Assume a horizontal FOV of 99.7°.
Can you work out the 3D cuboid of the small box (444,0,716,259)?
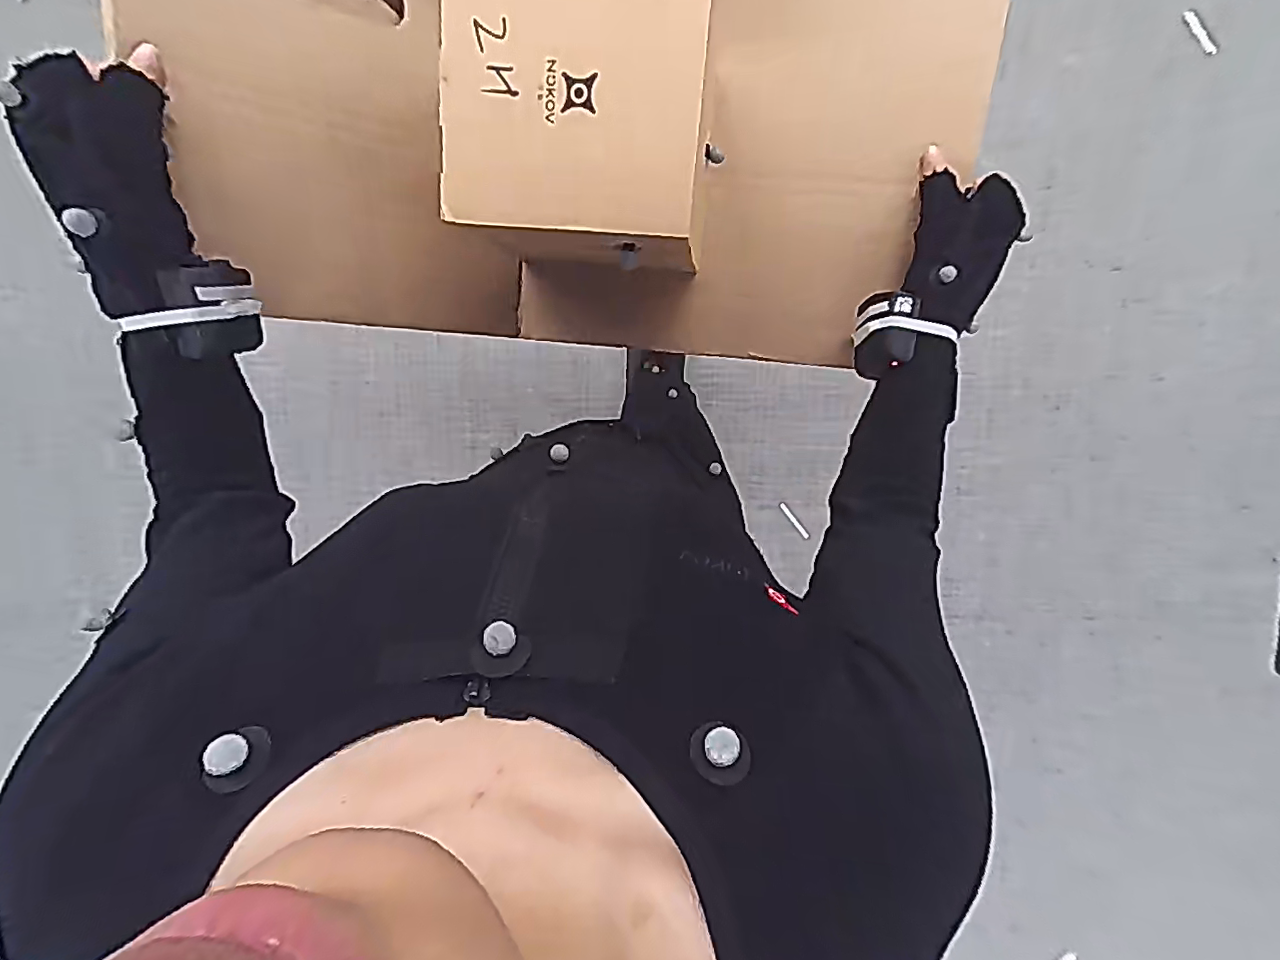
[{"bbox_3d":[-0.035,-0.279,0.432,0.179,0.176,0.168,7,104,7],"label":"small box"}]
